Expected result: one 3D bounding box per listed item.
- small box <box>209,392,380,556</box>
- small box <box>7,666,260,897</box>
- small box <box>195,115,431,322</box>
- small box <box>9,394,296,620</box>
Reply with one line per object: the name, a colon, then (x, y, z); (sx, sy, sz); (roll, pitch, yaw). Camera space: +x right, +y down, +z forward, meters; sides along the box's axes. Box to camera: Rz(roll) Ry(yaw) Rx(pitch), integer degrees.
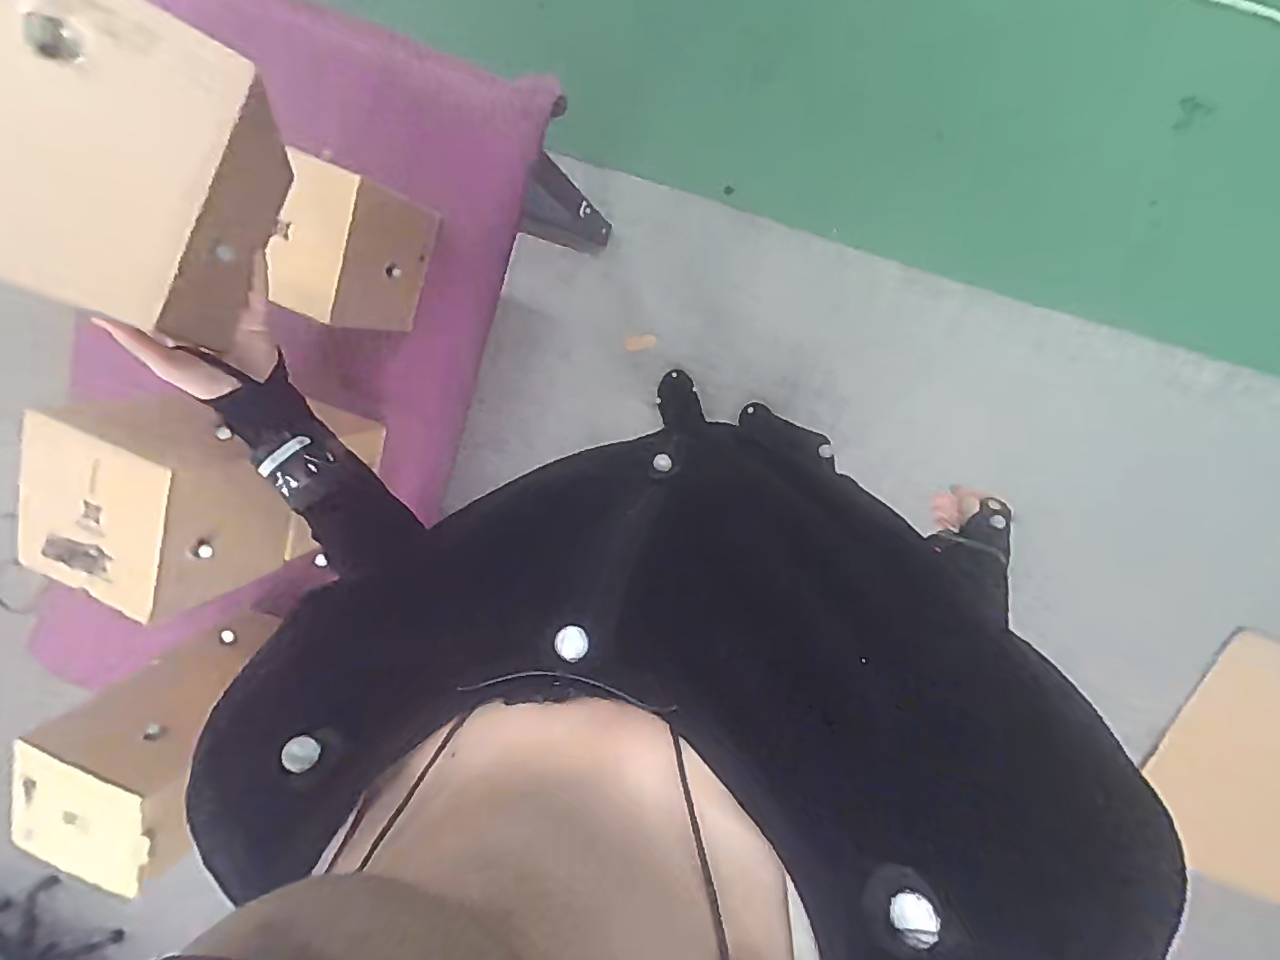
small box: (-0.498, -0.021, 0.758); (0.179, 0.176, 0.168); (19, 105, 6)
small box: (-0.638, 0.373, 0.698); (0.179, 0.176, 0.168); (20, 105, 3)
small box: (-0.393, -0.306, 0.674); (0.179, 0.176, 0.168); (24, 105, 4)
small box: (-0.523, 0.016, 0.600); (0.168, 0.176, 0.179); (22, 104, 4)
